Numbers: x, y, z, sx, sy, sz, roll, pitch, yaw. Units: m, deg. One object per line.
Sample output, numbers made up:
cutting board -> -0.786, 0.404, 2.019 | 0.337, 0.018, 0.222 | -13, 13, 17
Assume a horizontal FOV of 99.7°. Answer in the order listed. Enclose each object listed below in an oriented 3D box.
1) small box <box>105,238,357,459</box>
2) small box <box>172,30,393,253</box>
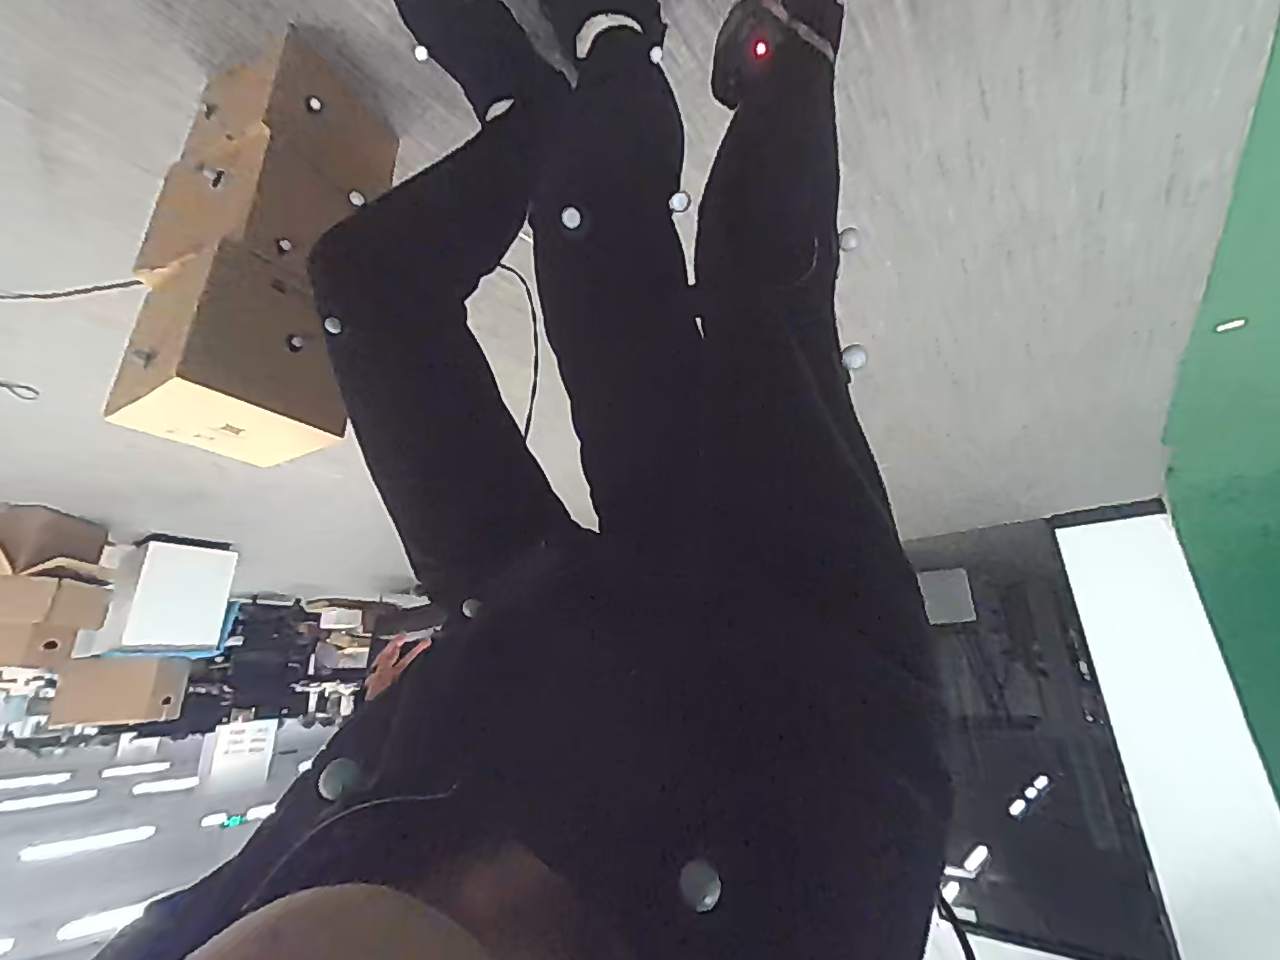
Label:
small box -> -0.454, -0.141, 0.623 | 0.179, 0.176, 0.168 | -11, 158, 28
small box -> -0.465, -0.450, 0.727 | 0.168, 0.176, 0.179 | -9, 161, 21
